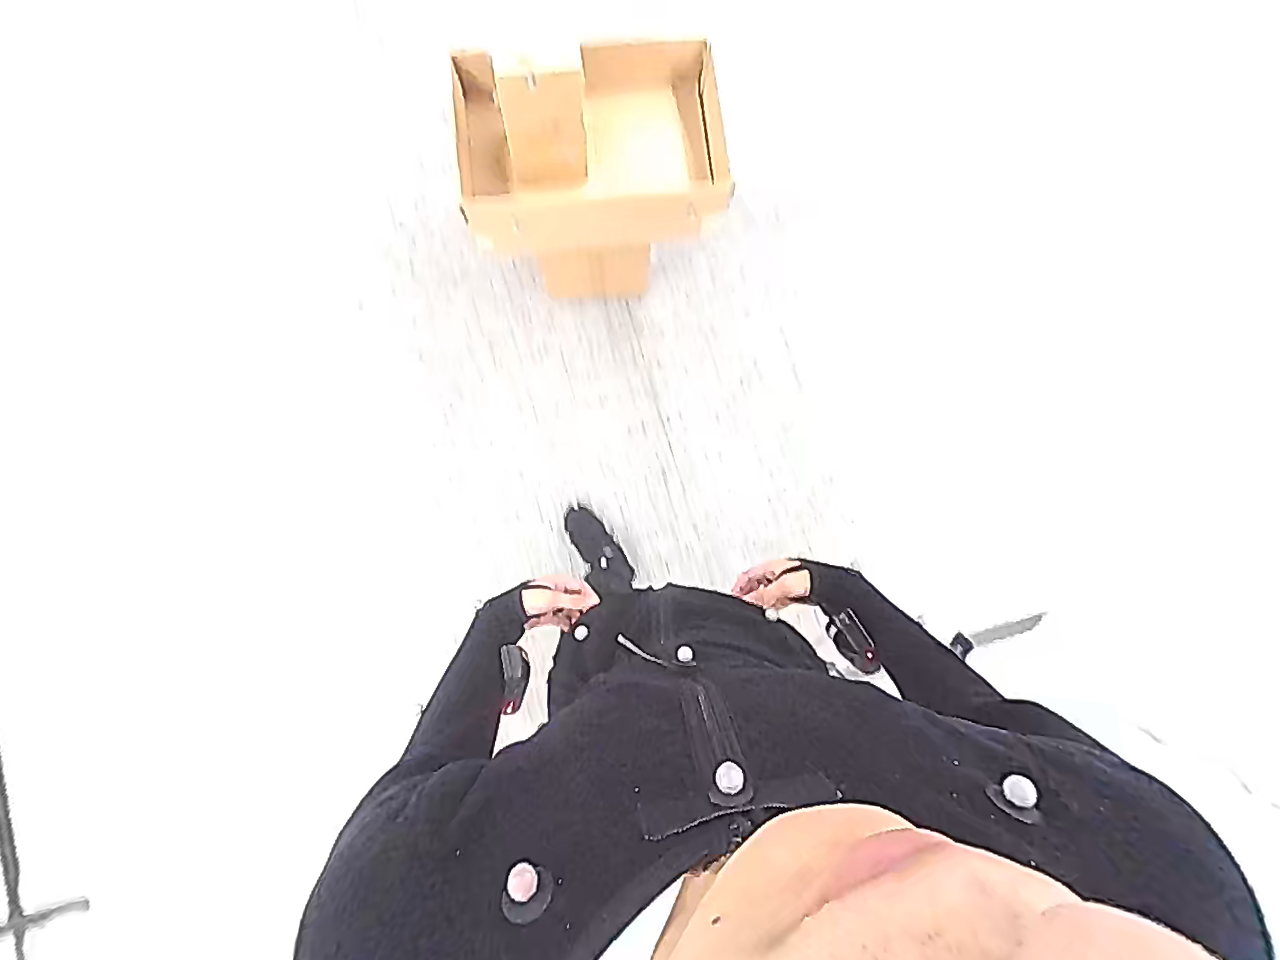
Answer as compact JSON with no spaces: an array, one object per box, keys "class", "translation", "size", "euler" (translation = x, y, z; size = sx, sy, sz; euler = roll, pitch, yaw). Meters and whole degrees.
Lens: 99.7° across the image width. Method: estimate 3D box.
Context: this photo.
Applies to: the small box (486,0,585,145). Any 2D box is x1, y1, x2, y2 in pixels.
[{"class":"small box","translation":[-0.206,-0.819,1.090],"size":[0.168,0.176,0.179],"euler":[-9,82,-6]}]
